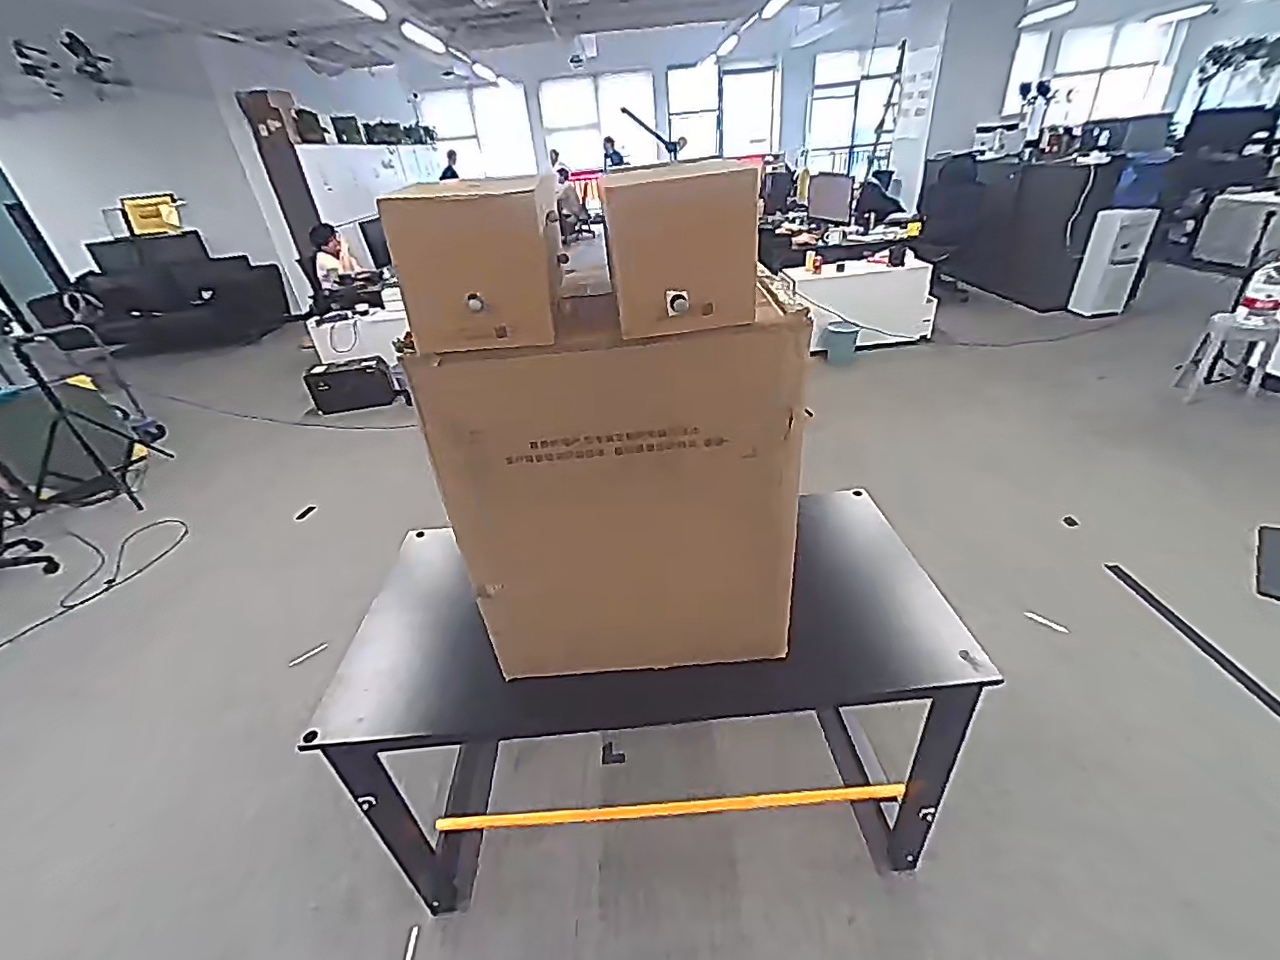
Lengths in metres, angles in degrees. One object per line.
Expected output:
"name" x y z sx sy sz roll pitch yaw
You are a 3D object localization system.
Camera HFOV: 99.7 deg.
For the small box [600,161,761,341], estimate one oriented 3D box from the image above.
"small box" 0.045 -0.287 0.673 0.168 0.176 0.179 -10 34 -2
